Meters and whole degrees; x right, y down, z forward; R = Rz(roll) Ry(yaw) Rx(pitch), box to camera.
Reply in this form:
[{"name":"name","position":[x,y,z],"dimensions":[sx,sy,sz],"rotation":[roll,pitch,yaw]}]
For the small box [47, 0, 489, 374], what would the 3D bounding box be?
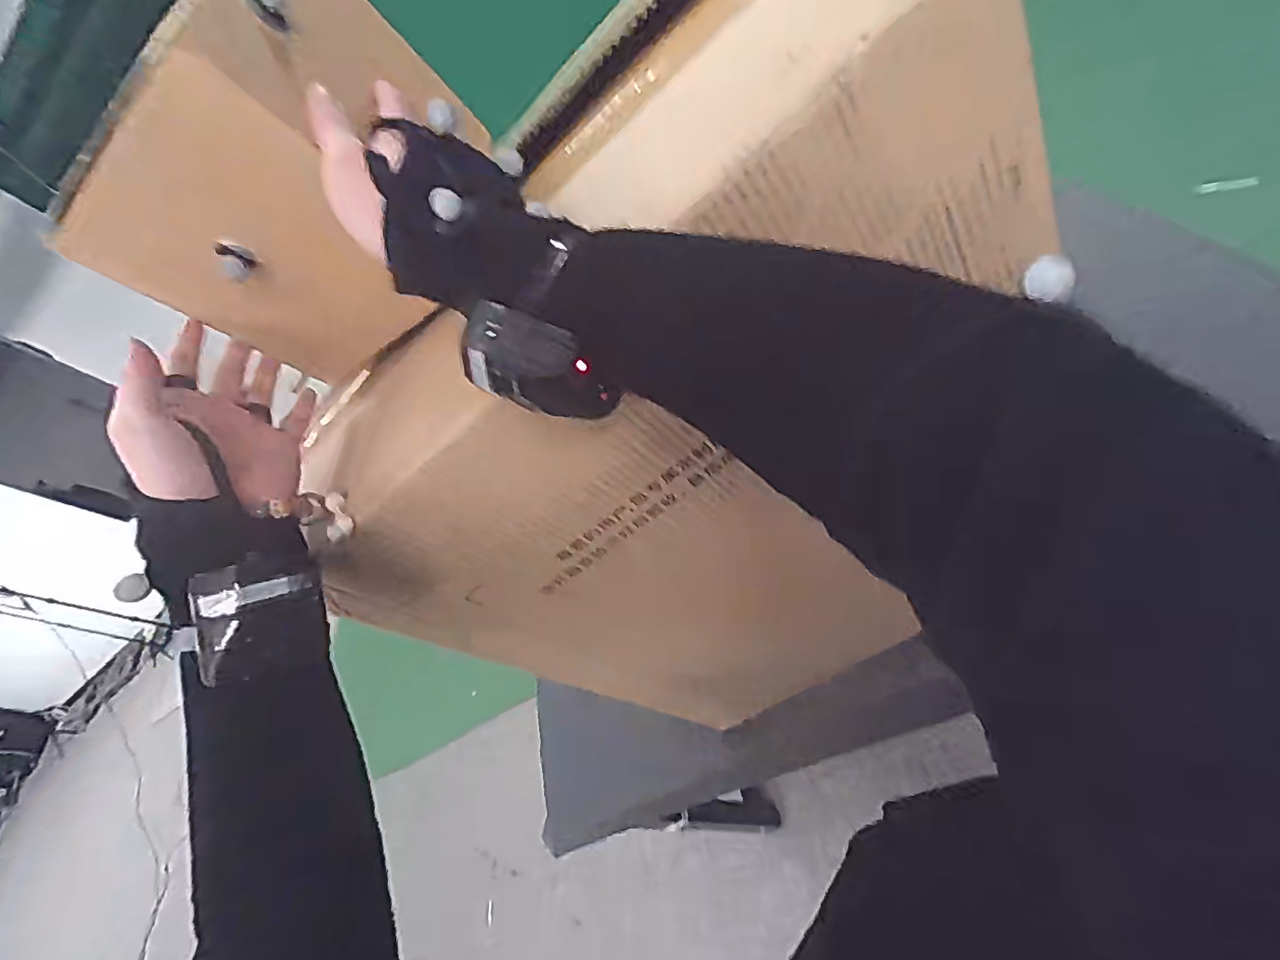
[{"name":"small box","position":[-0.229,-0.201,0.366],"dimensions":[0.179,0.176,0.168],"rotation":[-22,58,29]}]
